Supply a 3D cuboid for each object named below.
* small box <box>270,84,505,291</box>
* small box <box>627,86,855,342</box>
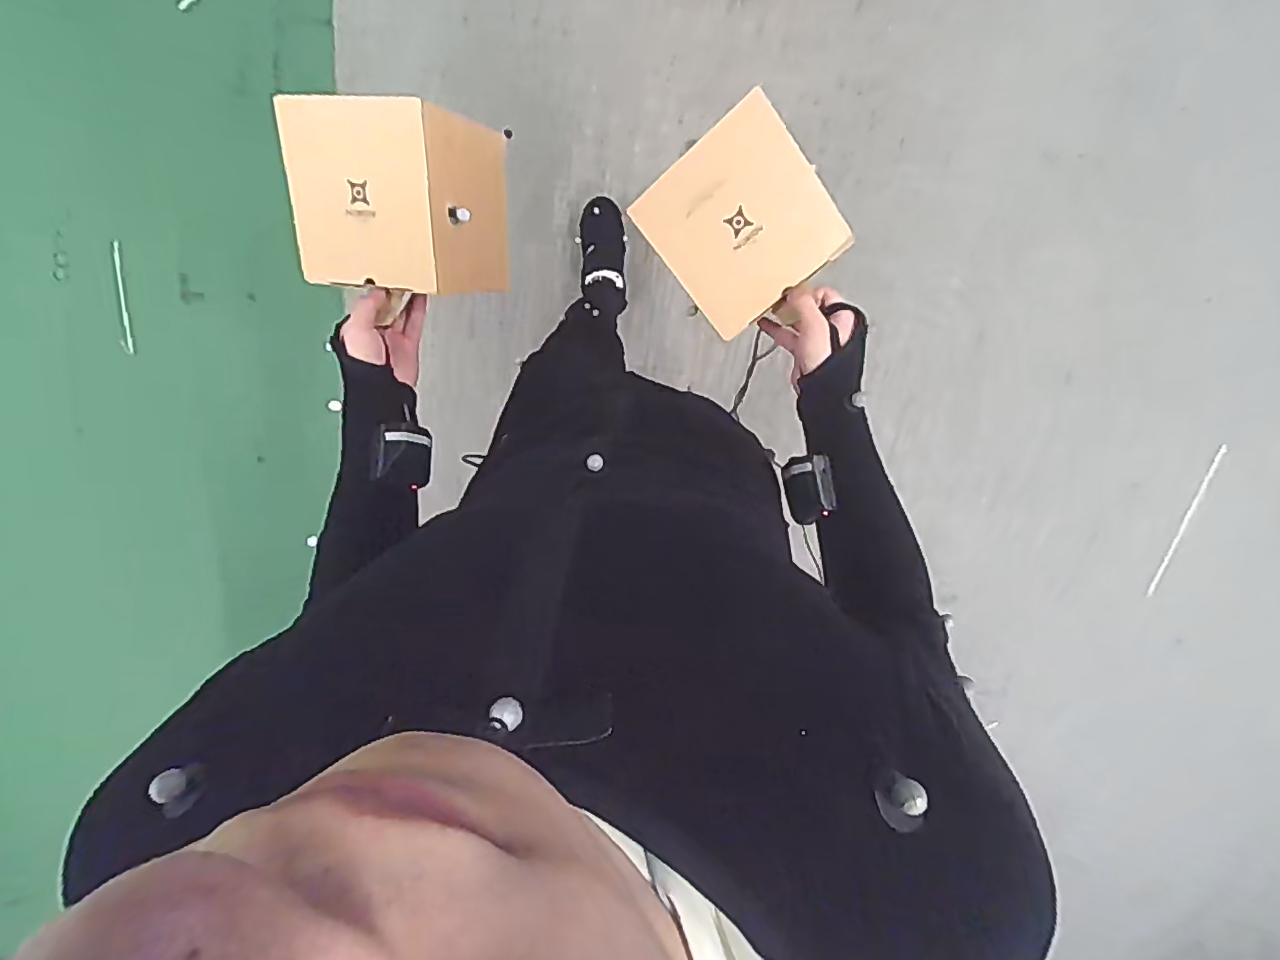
[{"bbox_3d":[-0.263,-0.315,0.607,0.168,0.176,0.179,9,114,10],"label":"small box"},{"bbox_3d":[0.106,-0.287,0.609,0.168,0.176,0.179,-35,107,17],"label":"small box"}]
